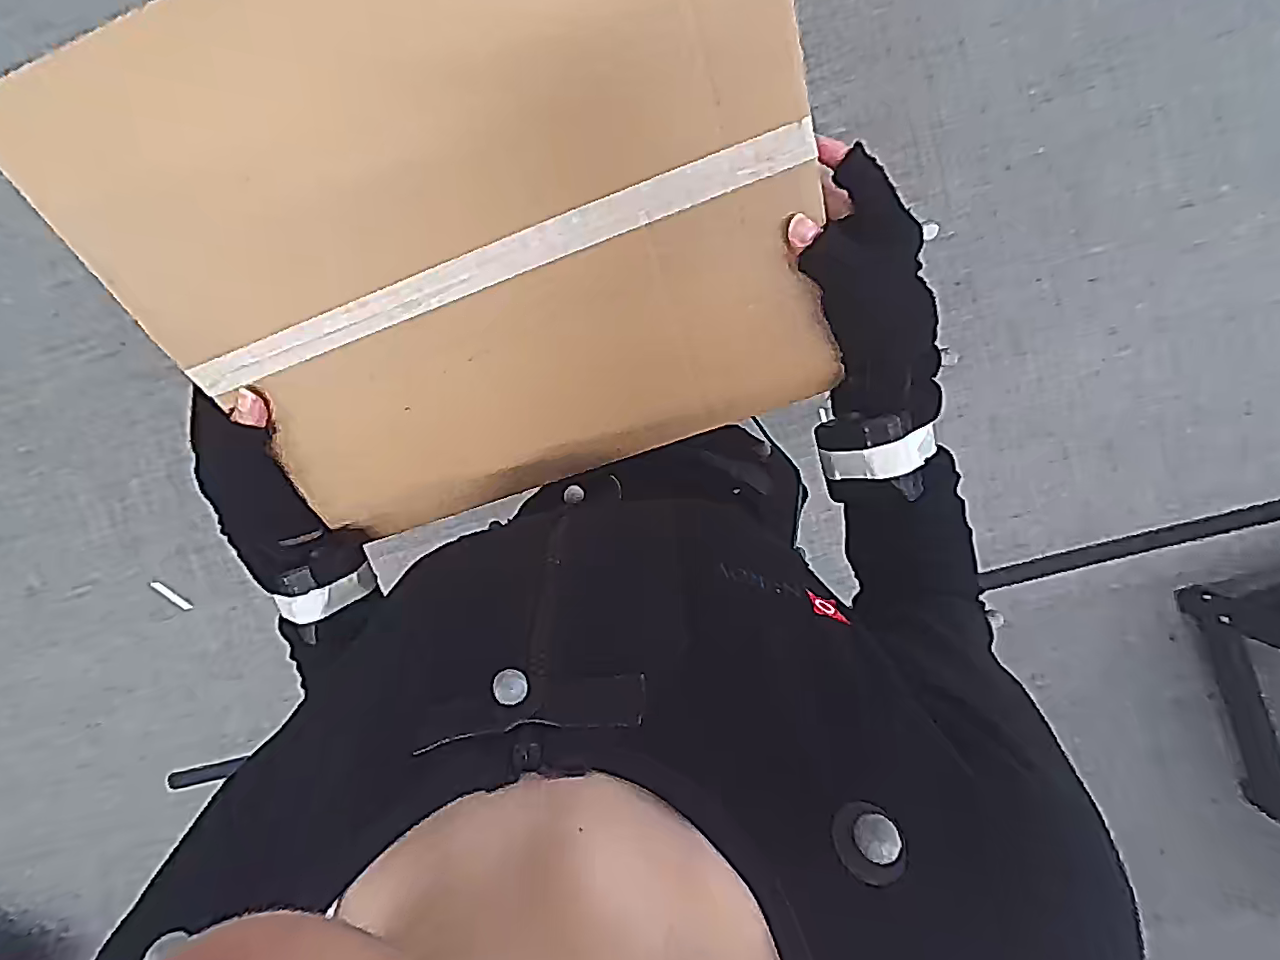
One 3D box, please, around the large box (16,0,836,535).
[{"bbox_3d":[-0.105,-0.214,0.457,0.408,0.320,0.320,-18,125,8],"label":"large box"}]
